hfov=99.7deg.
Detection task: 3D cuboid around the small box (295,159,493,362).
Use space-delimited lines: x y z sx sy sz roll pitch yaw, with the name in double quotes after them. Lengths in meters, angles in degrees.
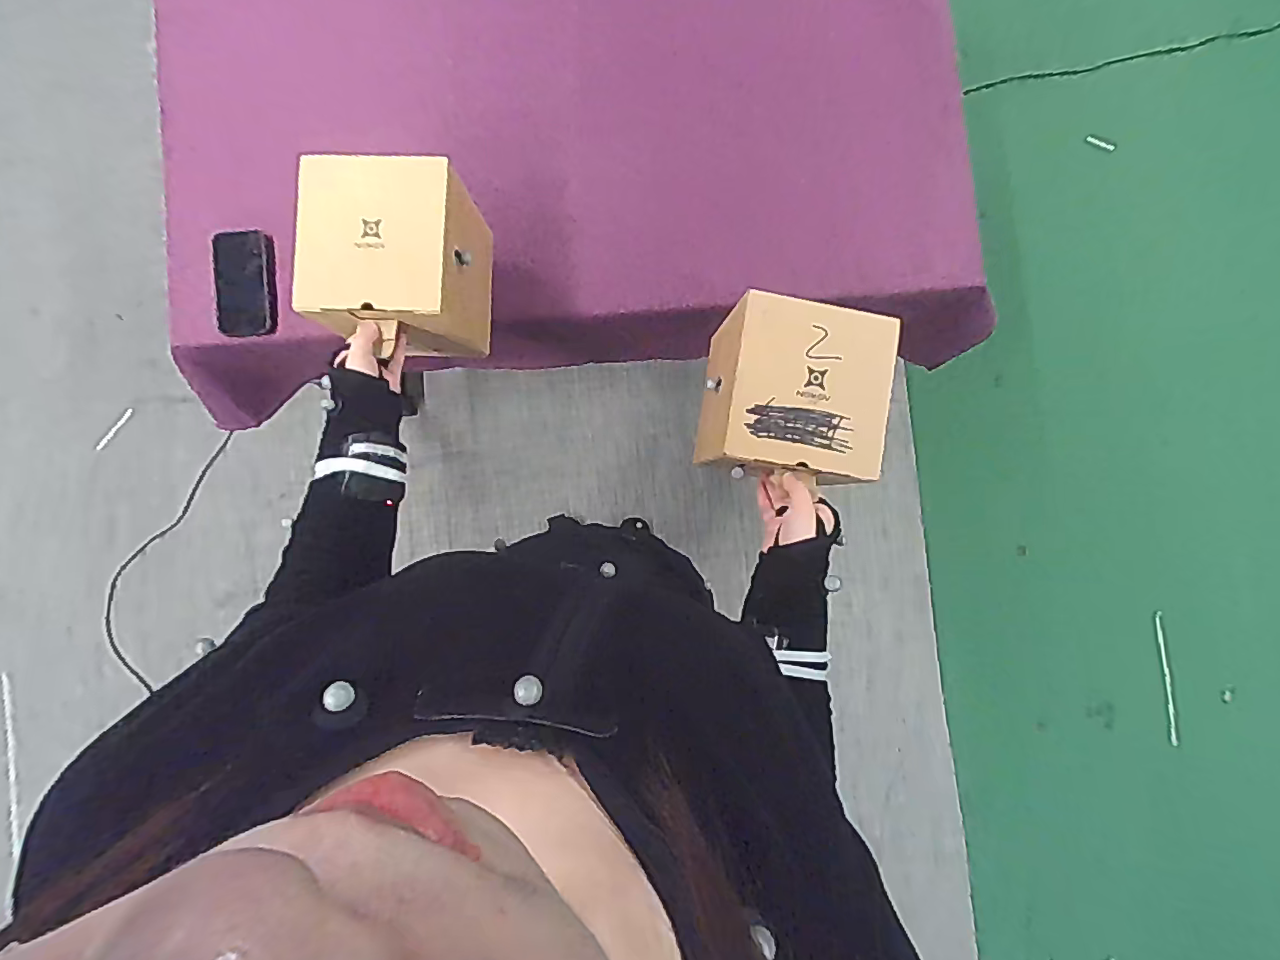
-0.286 -0.256 0.665 0.168 0.176 0.179 3 88 0 "small box"
